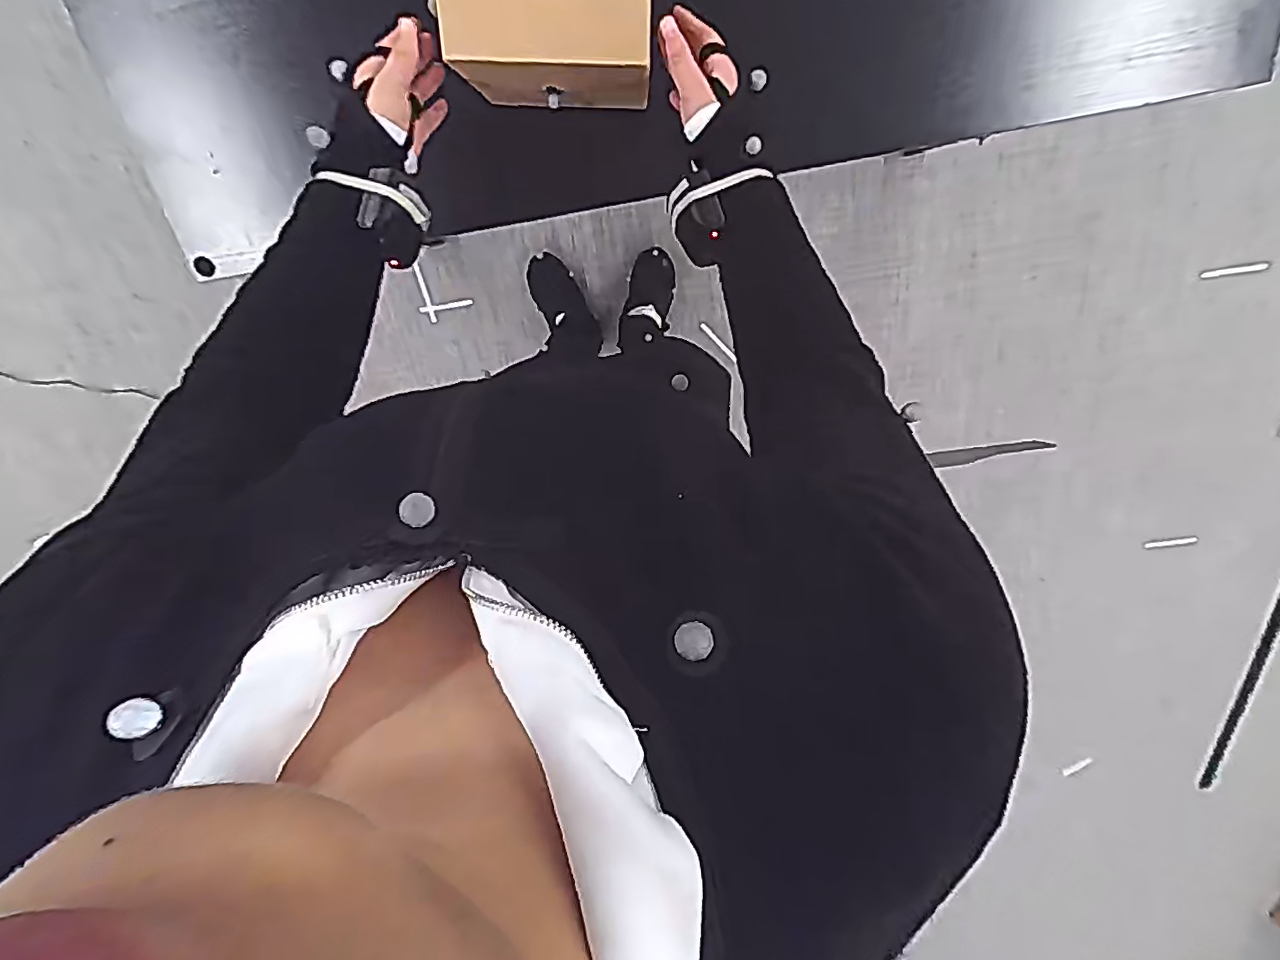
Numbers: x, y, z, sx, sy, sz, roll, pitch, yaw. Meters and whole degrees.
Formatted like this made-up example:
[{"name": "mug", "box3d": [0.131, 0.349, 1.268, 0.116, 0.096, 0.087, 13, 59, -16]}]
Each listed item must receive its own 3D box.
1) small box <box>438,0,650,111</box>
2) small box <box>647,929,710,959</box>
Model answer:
[{"name": "small box", "box3d": [-0.073, -0.442, 0.472, 0.168, 0.176, 0.179, 1, 114, -1]}, {"name": "small box", "box3d": [0.119, 1.503, 1.630, 0.179, 0.176, 0.168, -14, 111, 7]}]
